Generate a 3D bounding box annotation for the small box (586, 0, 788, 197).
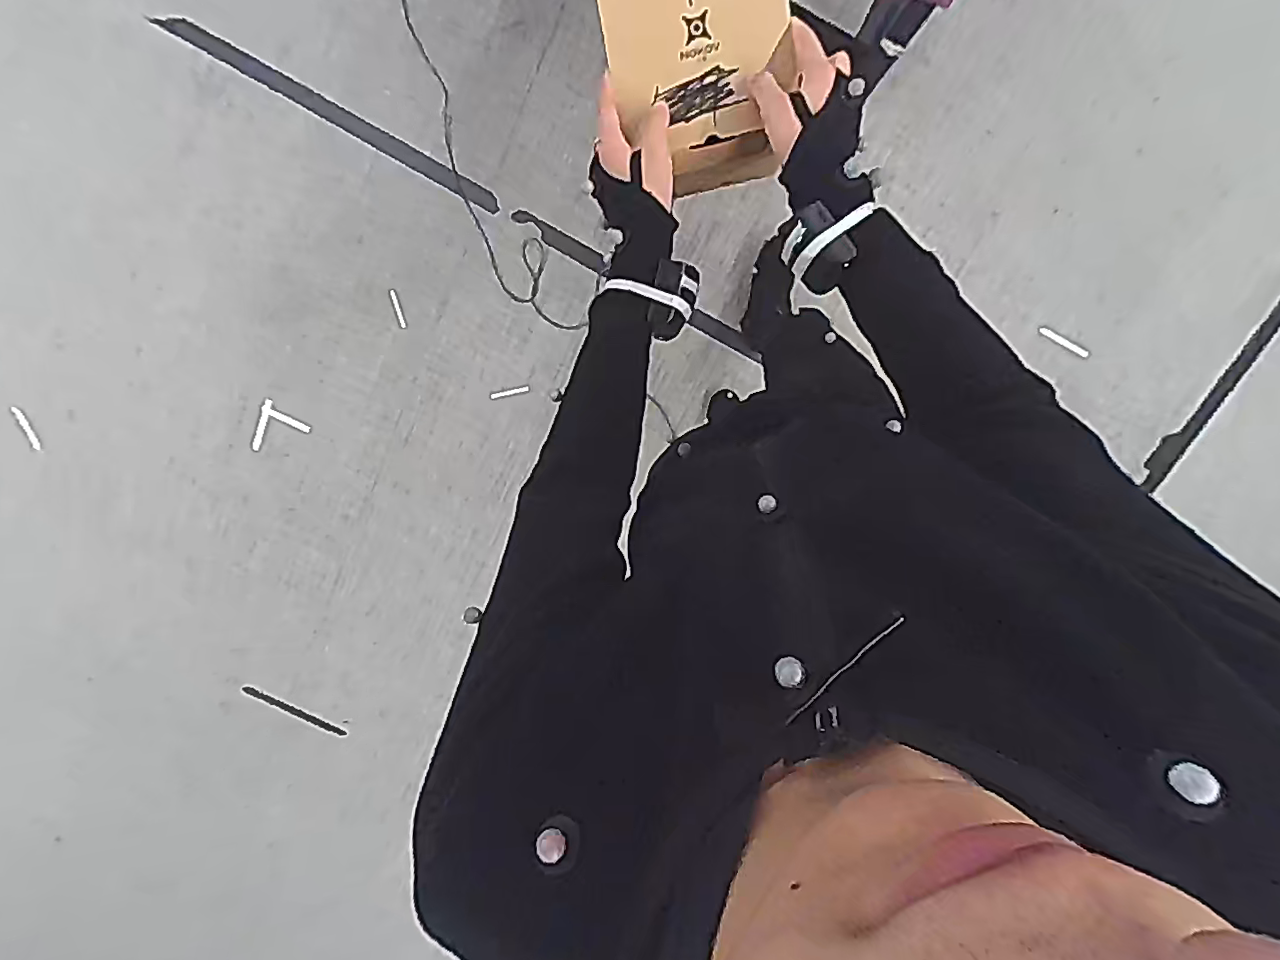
[{"bbox_3d":[0.050,-0.415,0.562,0.168,0.176,0.179,-10,103,8],"label":"small box"}]
